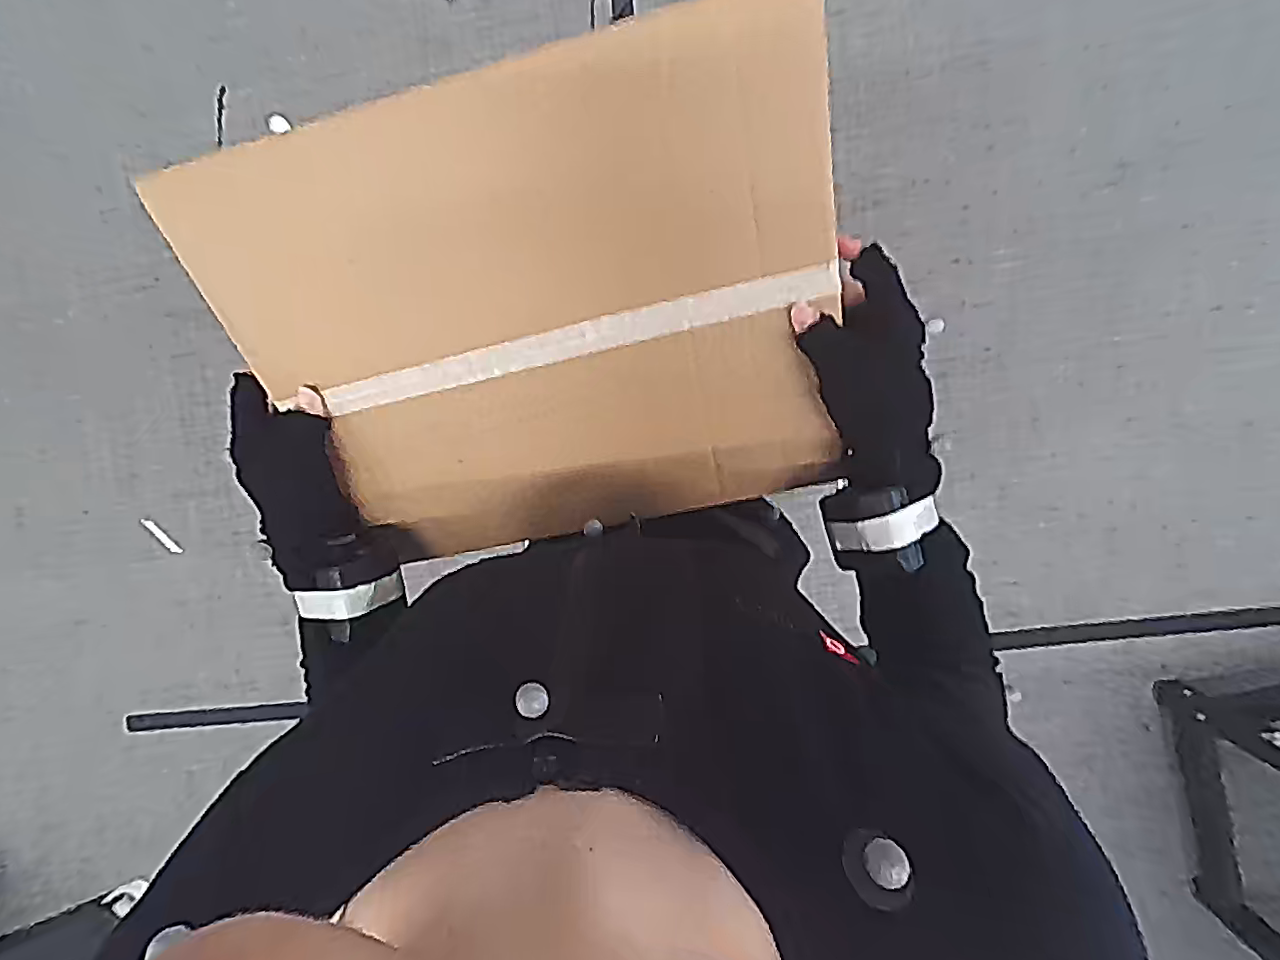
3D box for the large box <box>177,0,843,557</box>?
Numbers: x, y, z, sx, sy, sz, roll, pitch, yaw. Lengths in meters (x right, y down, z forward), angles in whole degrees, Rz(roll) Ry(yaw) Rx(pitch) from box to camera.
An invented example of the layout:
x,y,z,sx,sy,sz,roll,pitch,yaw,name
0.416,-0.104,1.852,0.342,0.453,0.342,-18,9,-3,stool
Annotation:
x,y,z,sx,sy,sz,roll,pitch,yaw,name
-0.066,-0.174,0.511,0.408,0.320,0.320,-12,122,8,large box
